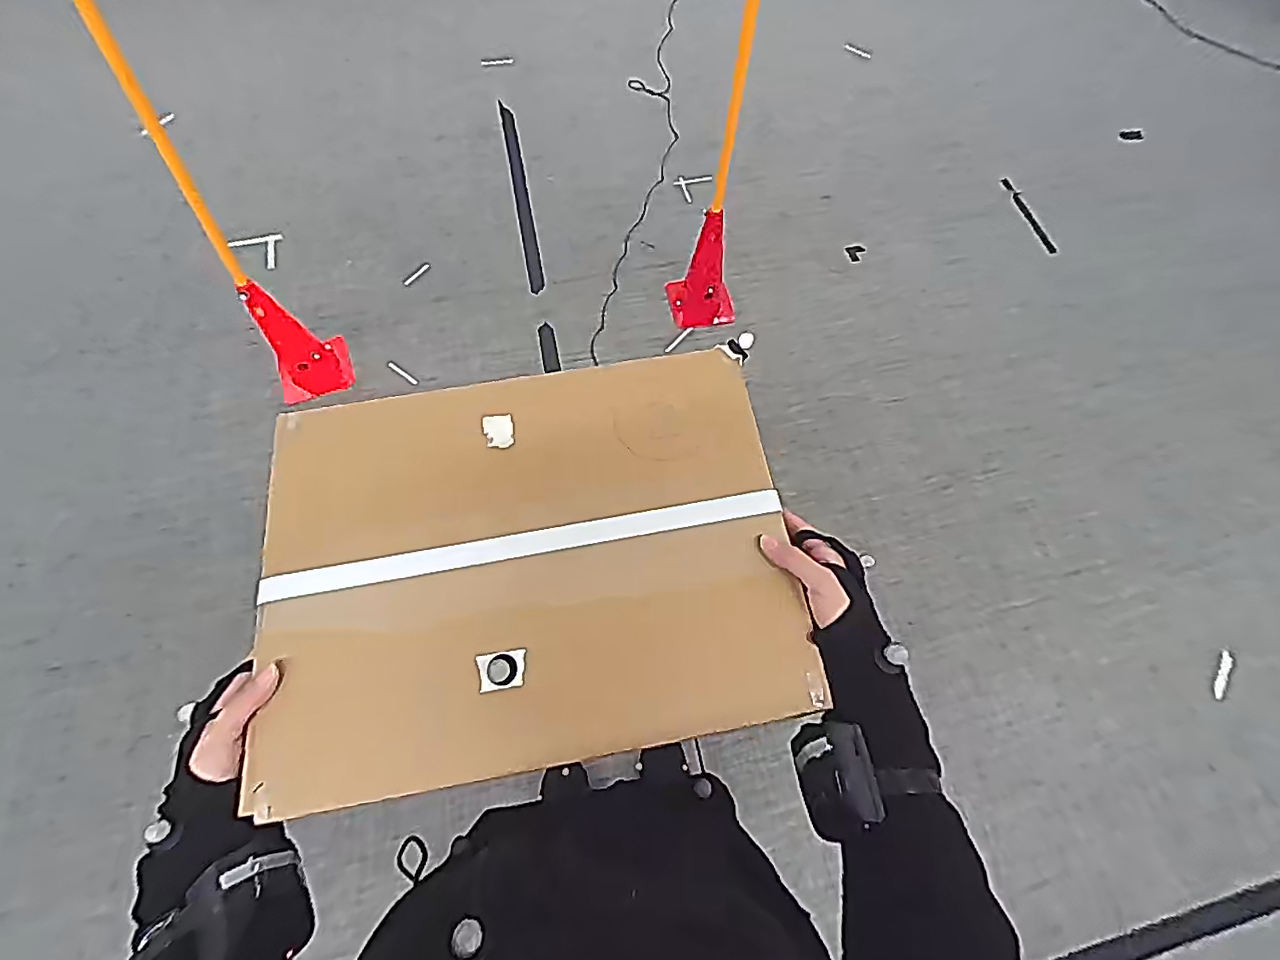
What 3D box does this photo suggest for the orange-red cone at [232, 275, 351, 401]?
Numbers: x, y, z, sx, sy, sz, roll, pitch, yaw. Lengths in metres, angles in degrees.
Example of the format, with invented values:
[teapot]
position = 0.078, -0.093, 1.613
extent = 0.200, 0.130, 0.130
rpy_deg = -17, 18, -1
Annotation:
[orange-red cone]
position = -0.970, -0.405, 1.460
extent = 0.199, 0.360, 0.198
rpy_deg = -20, 67, -9
